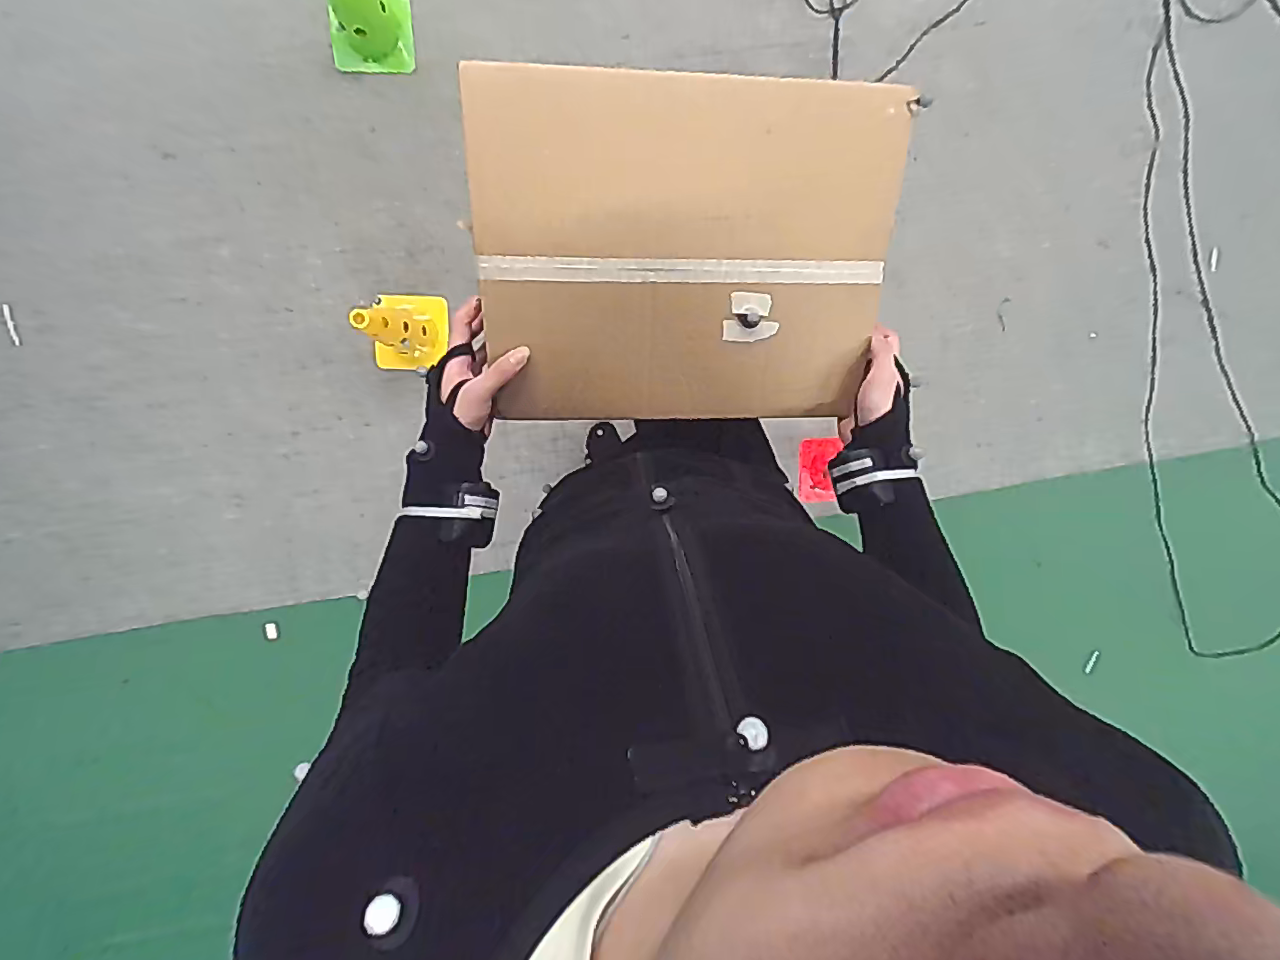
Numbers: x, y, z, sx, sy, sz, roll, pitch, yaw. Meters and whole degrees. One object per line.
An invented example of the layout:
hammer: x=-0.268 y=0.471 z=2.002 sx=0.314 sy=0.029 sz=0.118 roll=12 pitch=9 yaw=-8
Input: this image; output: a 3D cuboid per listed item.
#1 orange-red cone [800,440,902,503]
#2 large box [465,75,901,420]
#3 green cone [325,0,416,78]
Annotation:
orange-red cone: x=0.616 y=0.006 z=1.509 sx=0.199 sy=0.360 sz=0.198 roll=-2 pitch=101 yaw=-6
large box: x=0.028 y=-0.275 z=0.676 sx=0.408 sy=0.320 sz=0.320 roll=-2 pitch=116 yaw=-6
green cone: x=-0.668 y=-1.103 z=1.205 sx=0.200 sy=0.368 sz=0.202 roll=-3 pitch=101 yaw=-4
